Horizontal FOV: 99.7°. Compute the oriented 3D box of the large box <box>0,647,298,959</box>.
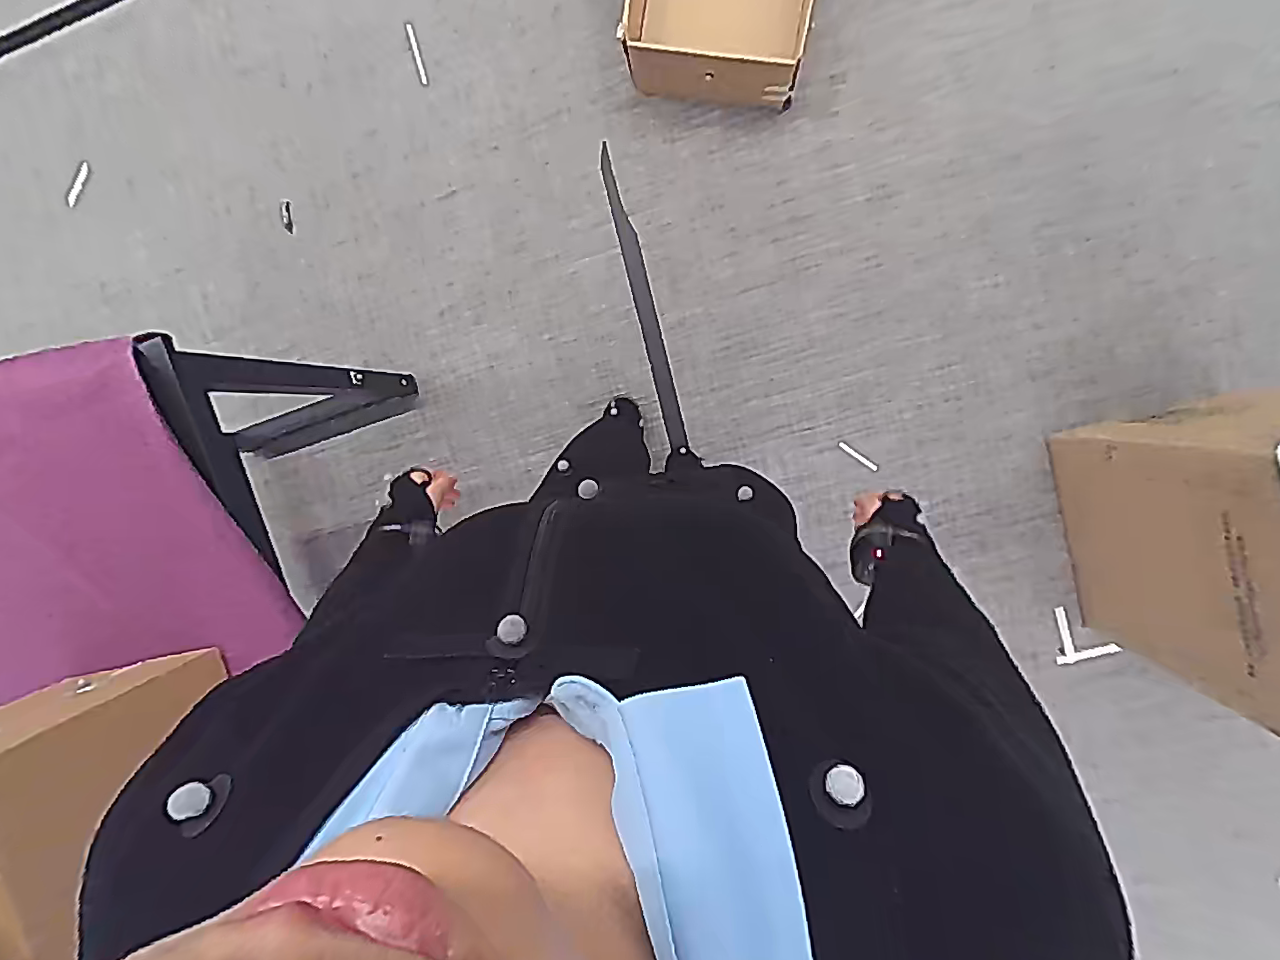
[{"bbox_3d":[-0.771,0.505,0.744,0.320,0.320,0.408,-14,97,10],"label":"large box"}]
